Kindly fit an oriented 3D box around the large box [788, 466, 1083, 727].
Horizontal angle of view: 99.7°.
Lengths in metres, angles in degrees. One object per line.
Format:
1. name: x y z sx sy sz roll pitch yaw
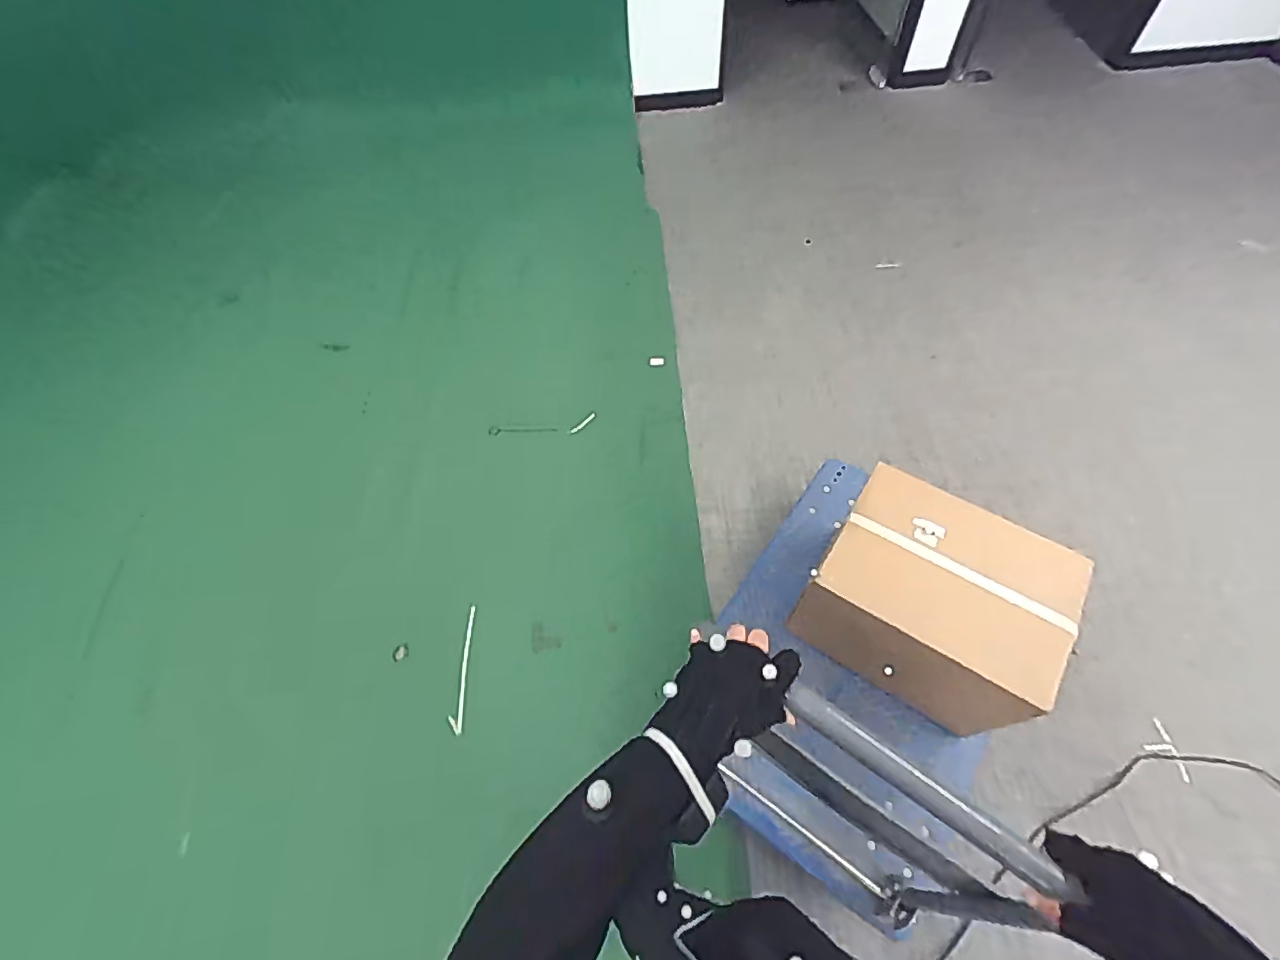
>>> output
1. large box: 0.573 0.243 1.112 0.408 0.320 0.320 28 63 20
